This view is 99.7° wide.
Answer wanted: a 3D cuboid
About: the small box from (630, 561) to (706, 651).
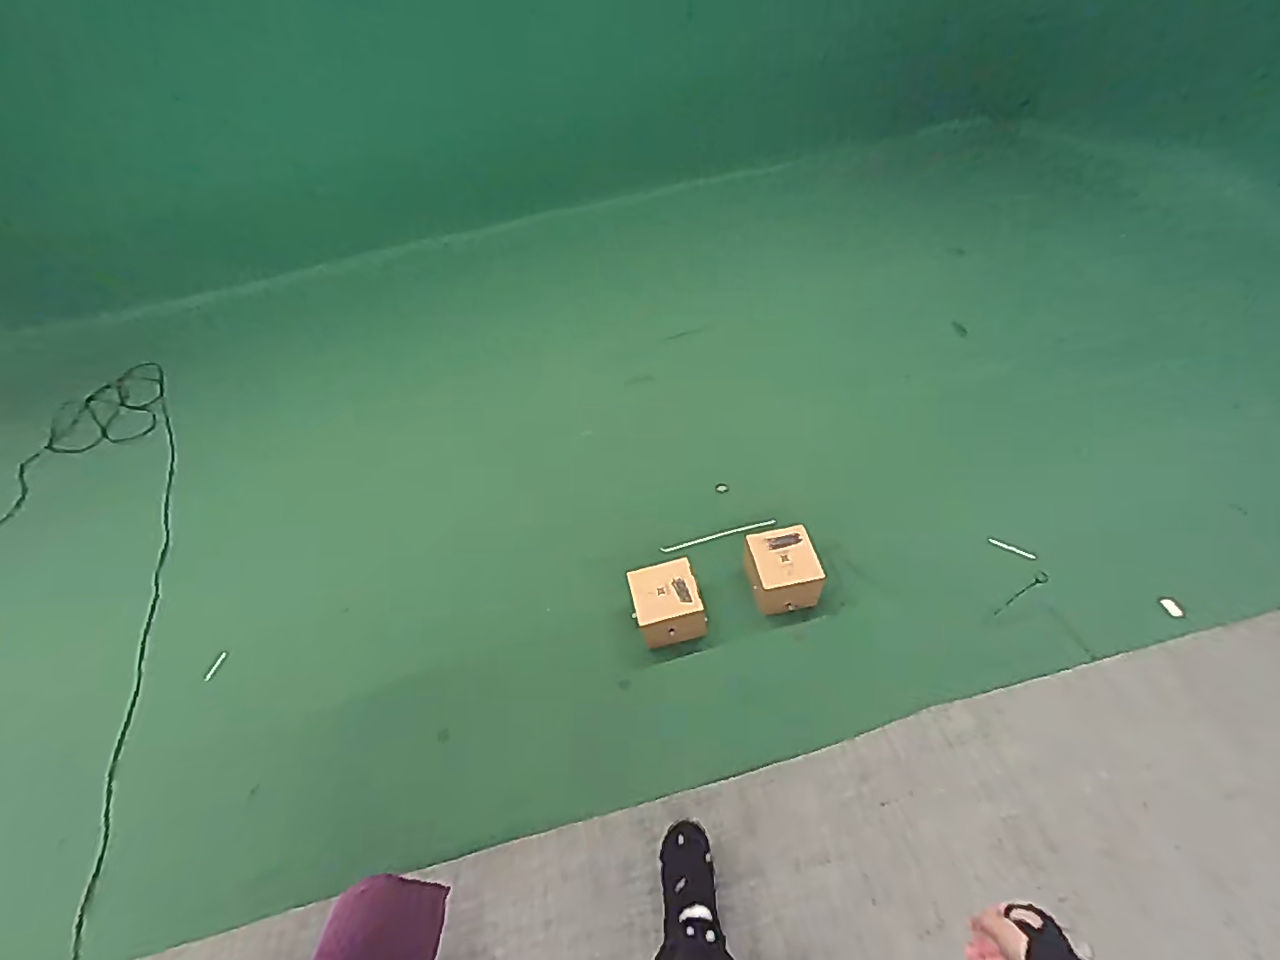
[{"bbox_3d":[0.081,0.353,1.506,0.179,0.176,0.168,-15,50,-1],"label":"small box"}]
